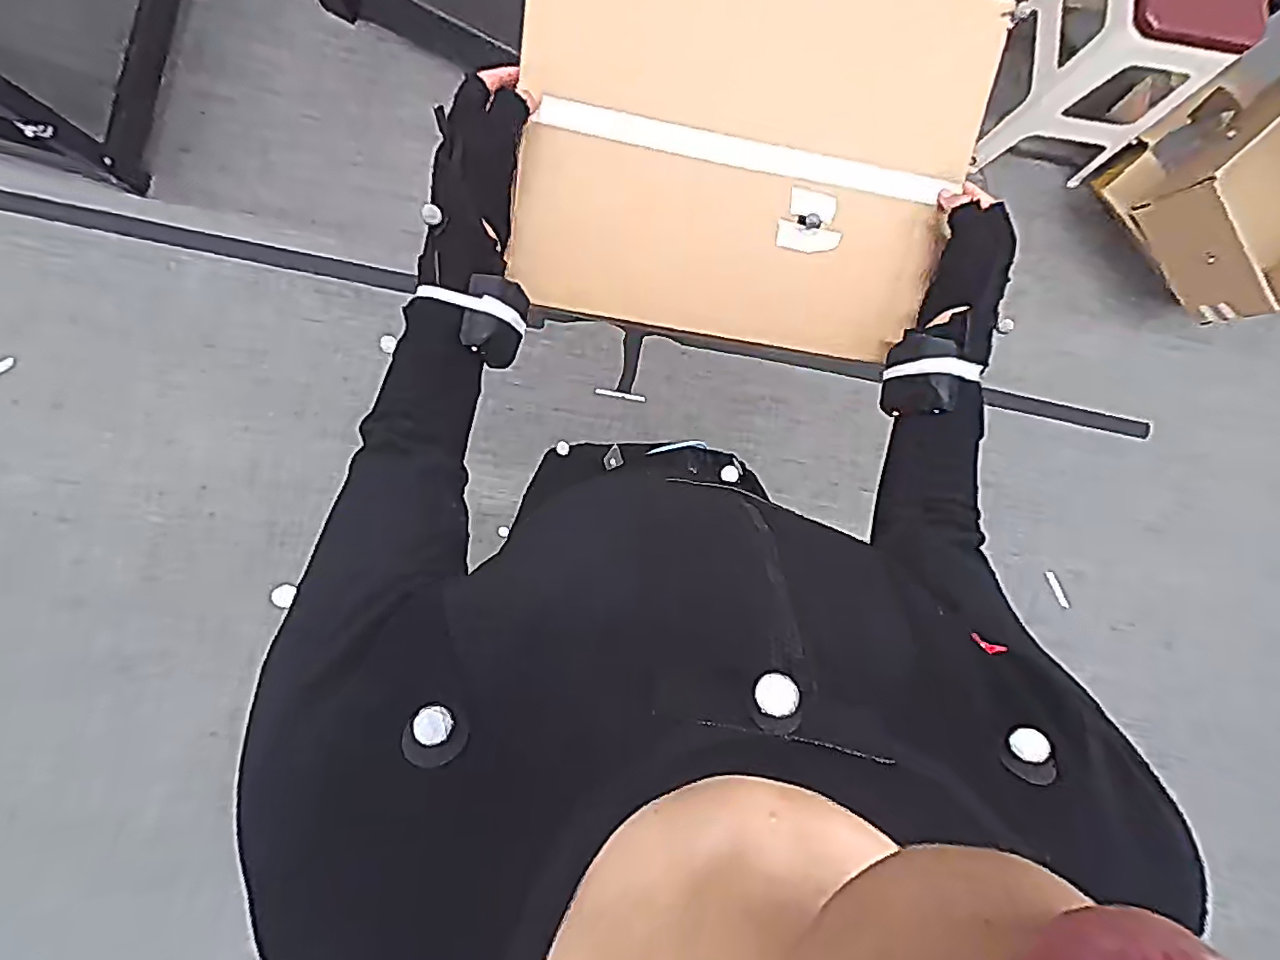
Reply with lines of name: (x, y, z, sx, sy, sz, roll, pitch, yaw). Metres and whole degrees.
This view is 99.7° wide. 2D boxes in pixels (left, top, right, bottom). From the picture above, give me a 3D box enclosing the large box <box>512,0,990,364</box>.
large box: (0.081, -0.329, 0.637, 0.408, 0.320, 0.320, 8, 106, -8)
